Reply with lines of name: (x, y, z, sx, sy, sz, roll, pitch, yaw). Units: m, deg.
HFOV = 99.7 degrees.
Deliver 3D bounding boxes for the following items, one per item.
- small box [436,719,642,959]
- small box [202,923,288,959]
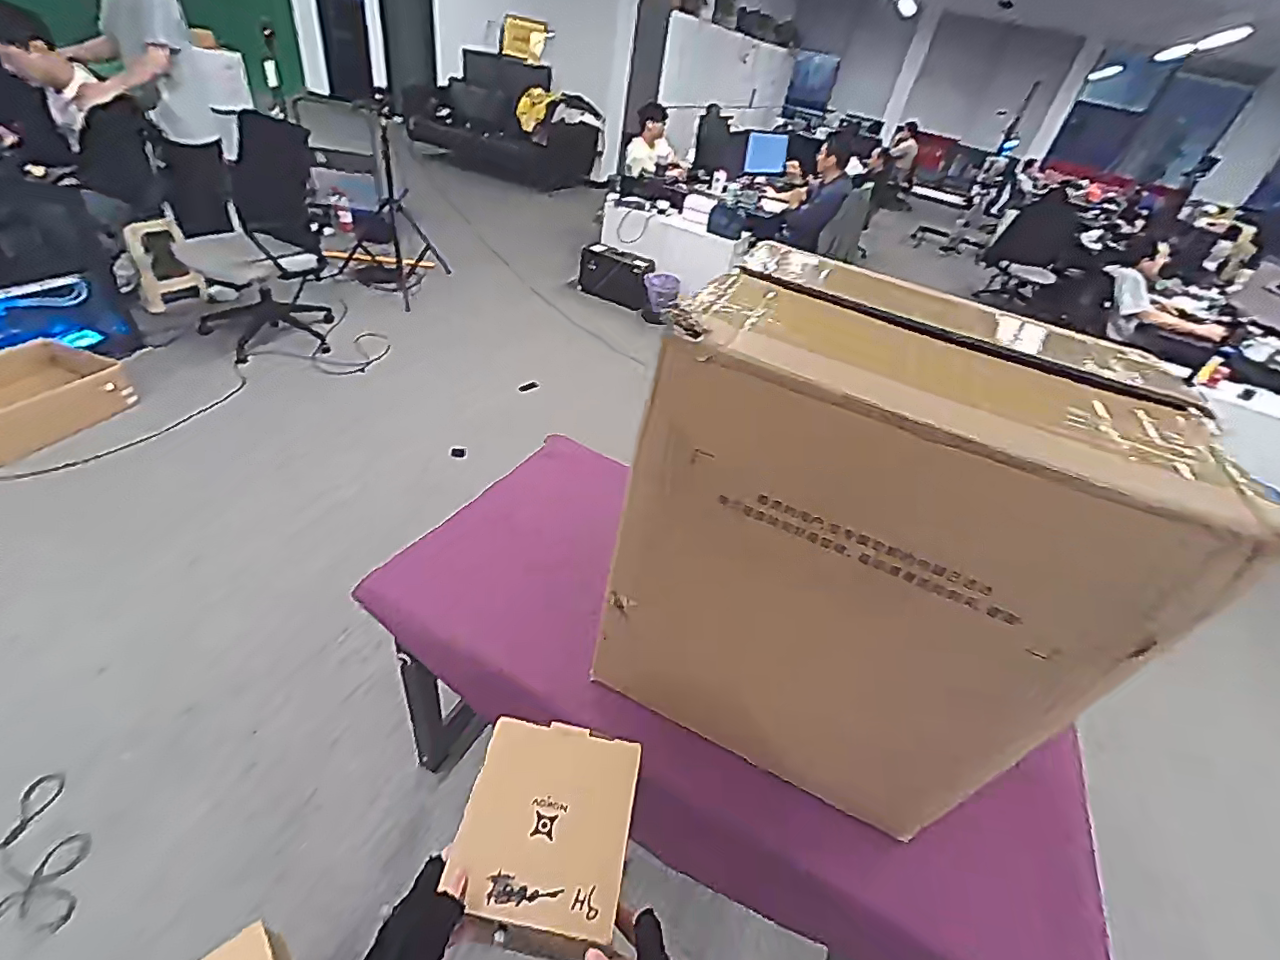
small box: (-0.098, 0.396, 0.587, 0.168, 0.176, 0.179, 9, 41, 4)
small box: (-0.647, 0.863, 0.851, 0.168, 0.176, 0.179, -22, 49, -37)
